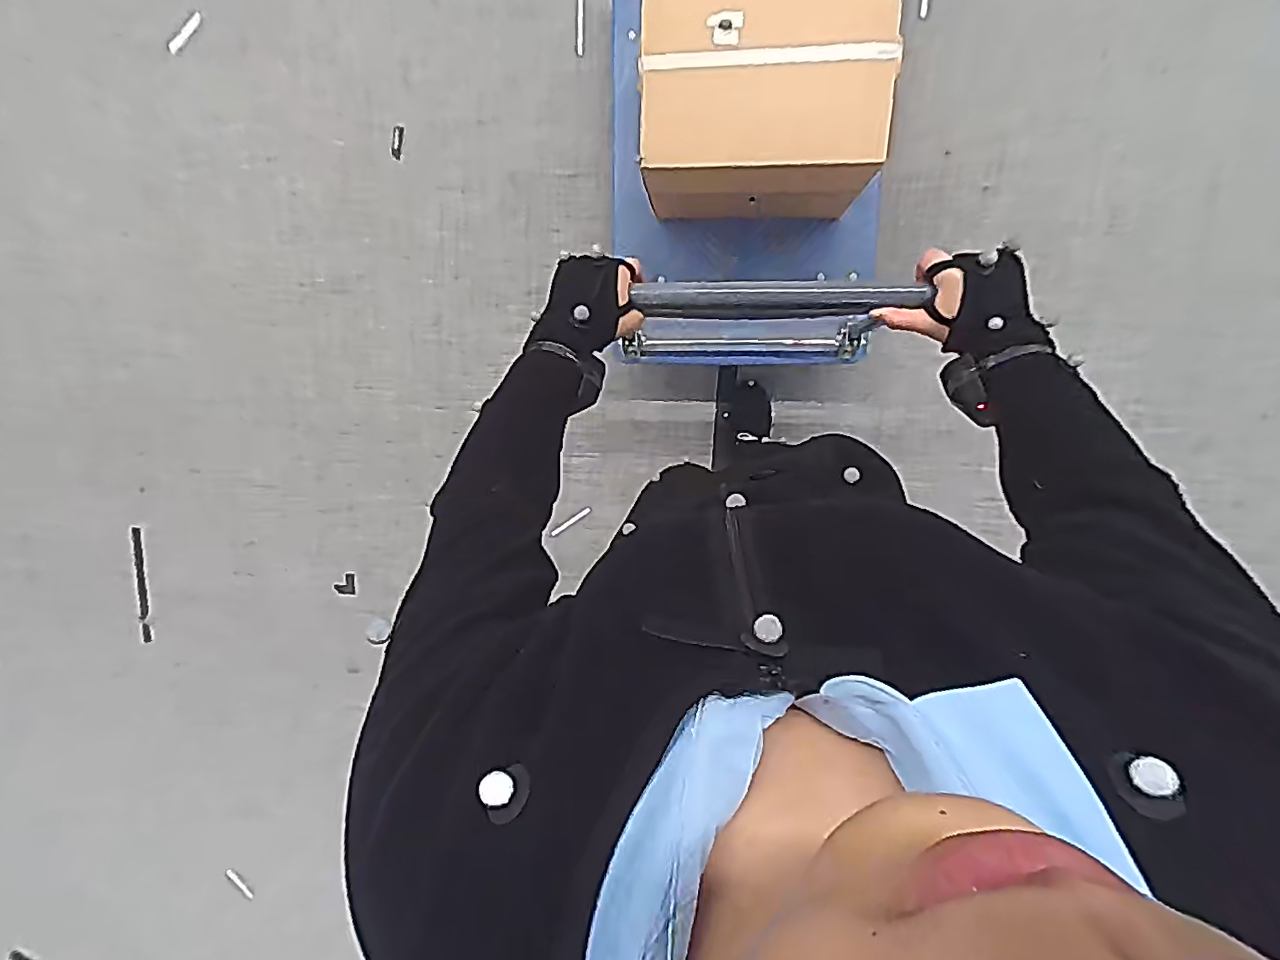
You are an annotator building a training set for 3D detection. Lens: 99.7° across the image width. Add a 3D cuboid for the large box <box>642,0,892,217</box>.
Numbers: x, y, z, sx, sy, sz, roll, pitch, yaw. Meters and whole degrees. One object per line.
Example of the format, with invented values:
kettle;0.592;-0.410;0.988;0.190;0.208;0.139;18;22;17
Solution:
large box;0.224;-0.713;1.035;0.408;0.320;0.320;2;100;8
